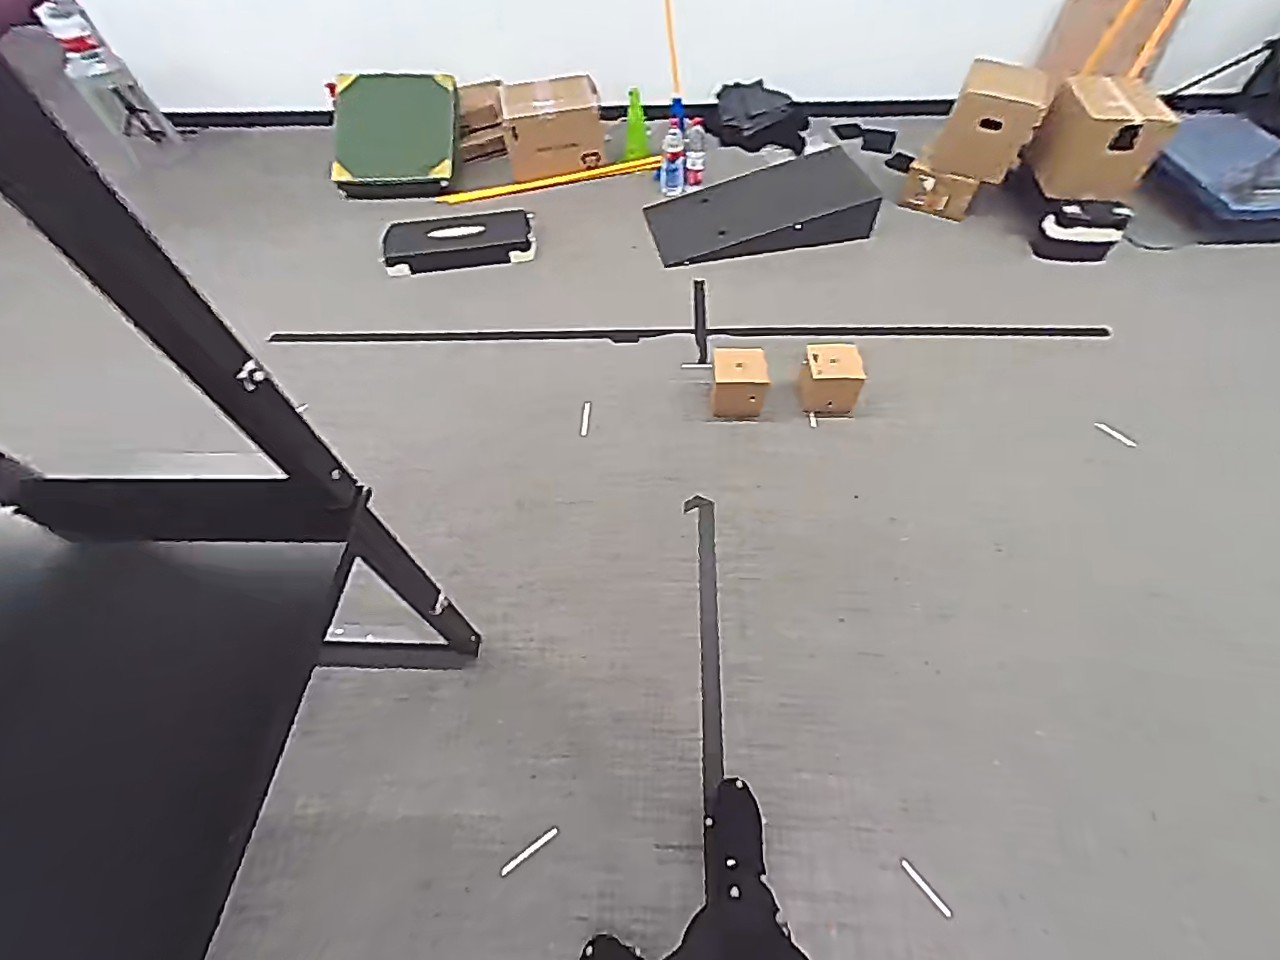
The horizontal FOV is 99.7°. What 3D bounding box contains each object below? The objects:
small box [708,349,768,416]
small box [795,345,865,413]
[{"bbox_3d":[0.337,-0.337,1.886,0.179,0.176,0.168,1,55,2],"label":"small box"},{"bbox_3d":[0.658,-0.350,1.888,0.179,0.176,0.168,1,55,1],"label":"small box"}]
